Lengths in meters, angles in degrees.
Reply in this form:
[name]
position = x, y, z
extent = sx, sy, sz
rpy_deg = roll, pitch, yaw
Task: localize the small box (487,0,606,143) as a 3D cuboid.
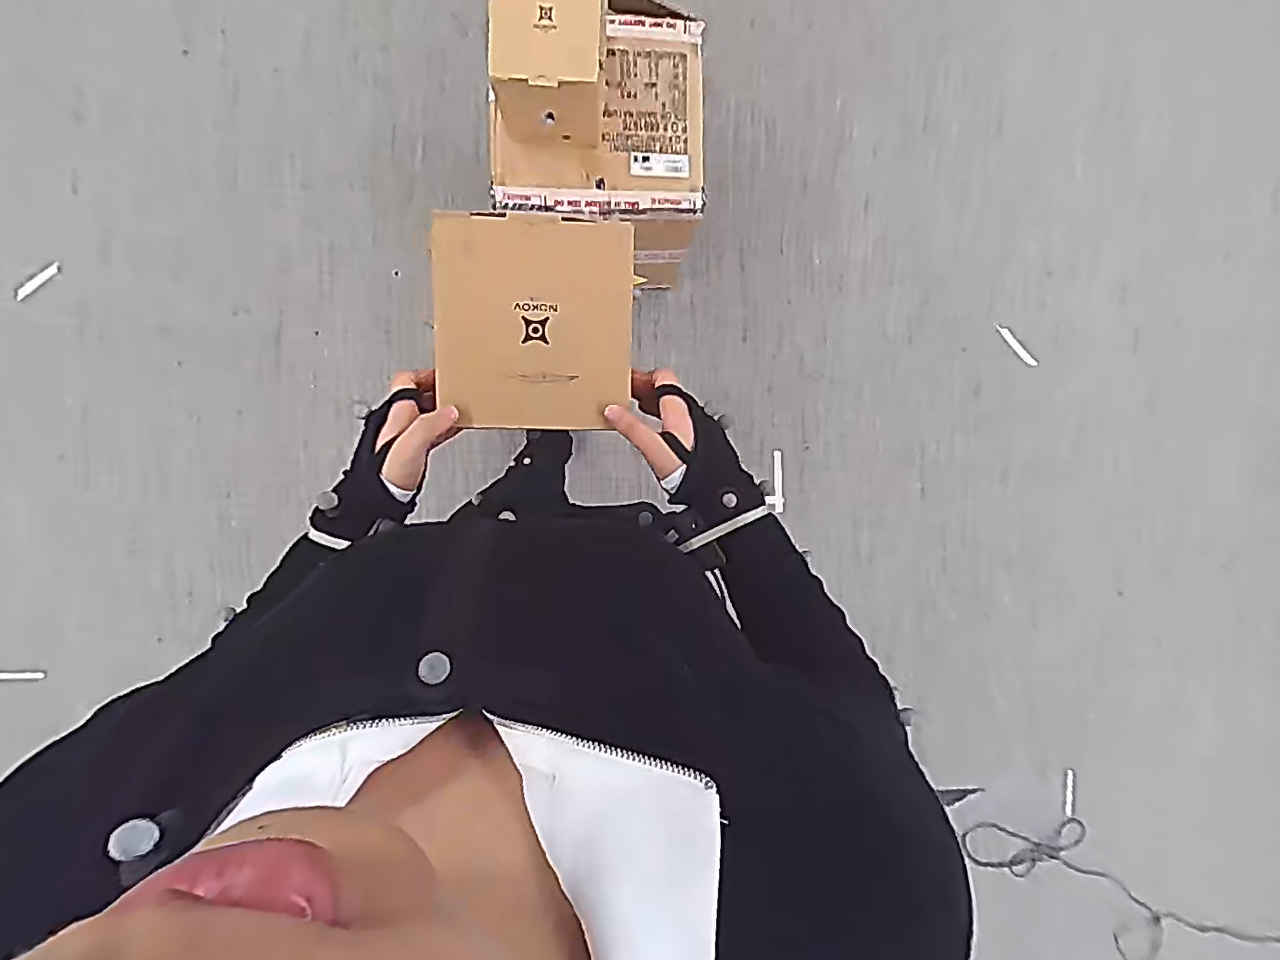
[small box]
position = -0.143, -0.678, 0.875
extent = 0.168, 0.176, 0.179
rpy_deg = 3, 95, -2
